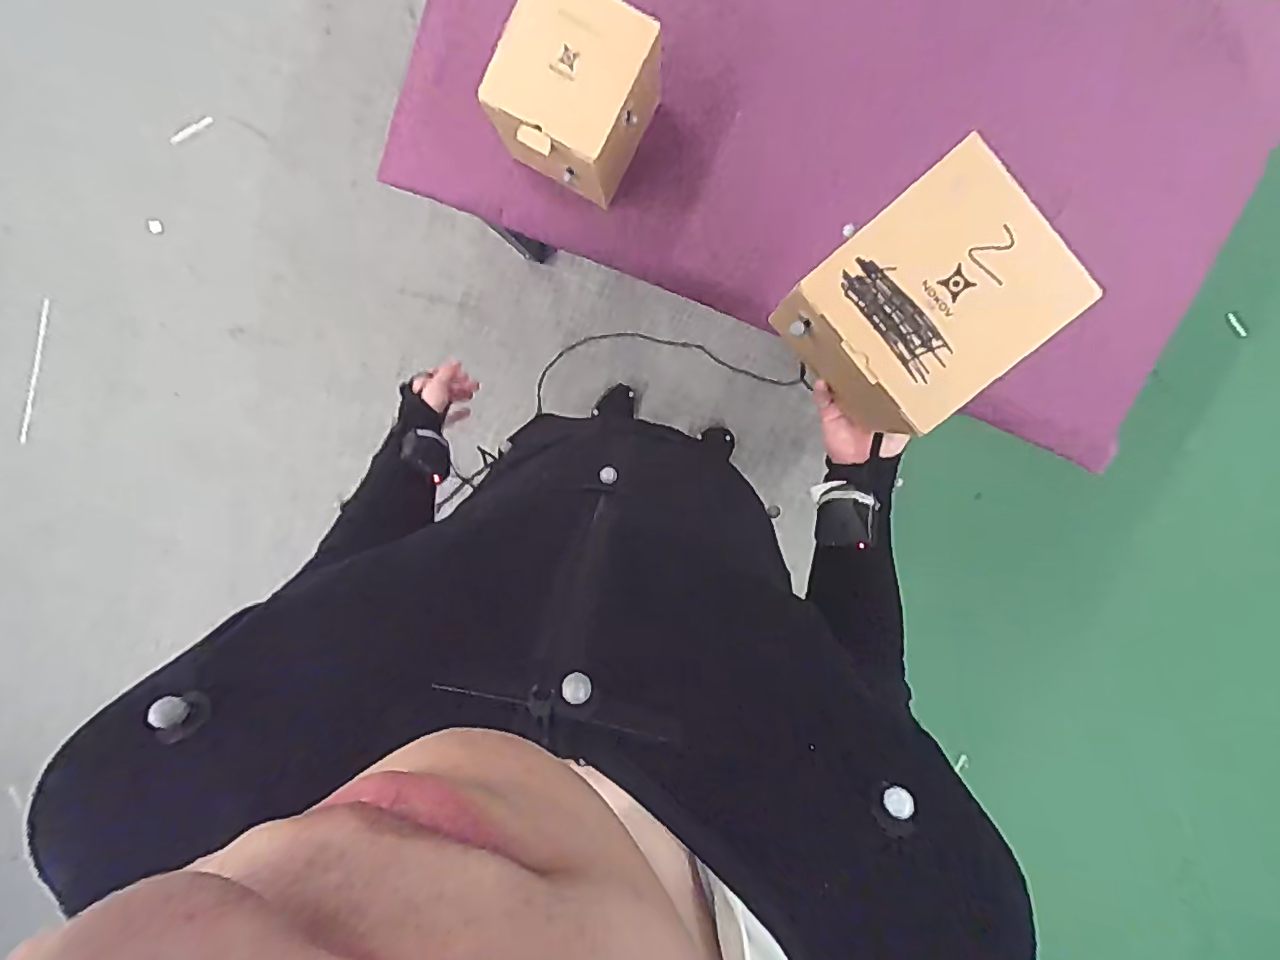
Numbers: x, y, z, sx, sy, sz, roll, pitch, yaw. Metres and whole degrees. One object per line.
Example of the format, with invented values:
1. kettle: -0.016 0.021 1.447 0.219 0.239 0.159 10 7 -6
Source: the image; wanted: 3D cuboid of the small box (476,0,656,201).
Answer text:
1. small box: -0.087 -0.514 0.727 0.168 0.176 0.179 29 98 -3
